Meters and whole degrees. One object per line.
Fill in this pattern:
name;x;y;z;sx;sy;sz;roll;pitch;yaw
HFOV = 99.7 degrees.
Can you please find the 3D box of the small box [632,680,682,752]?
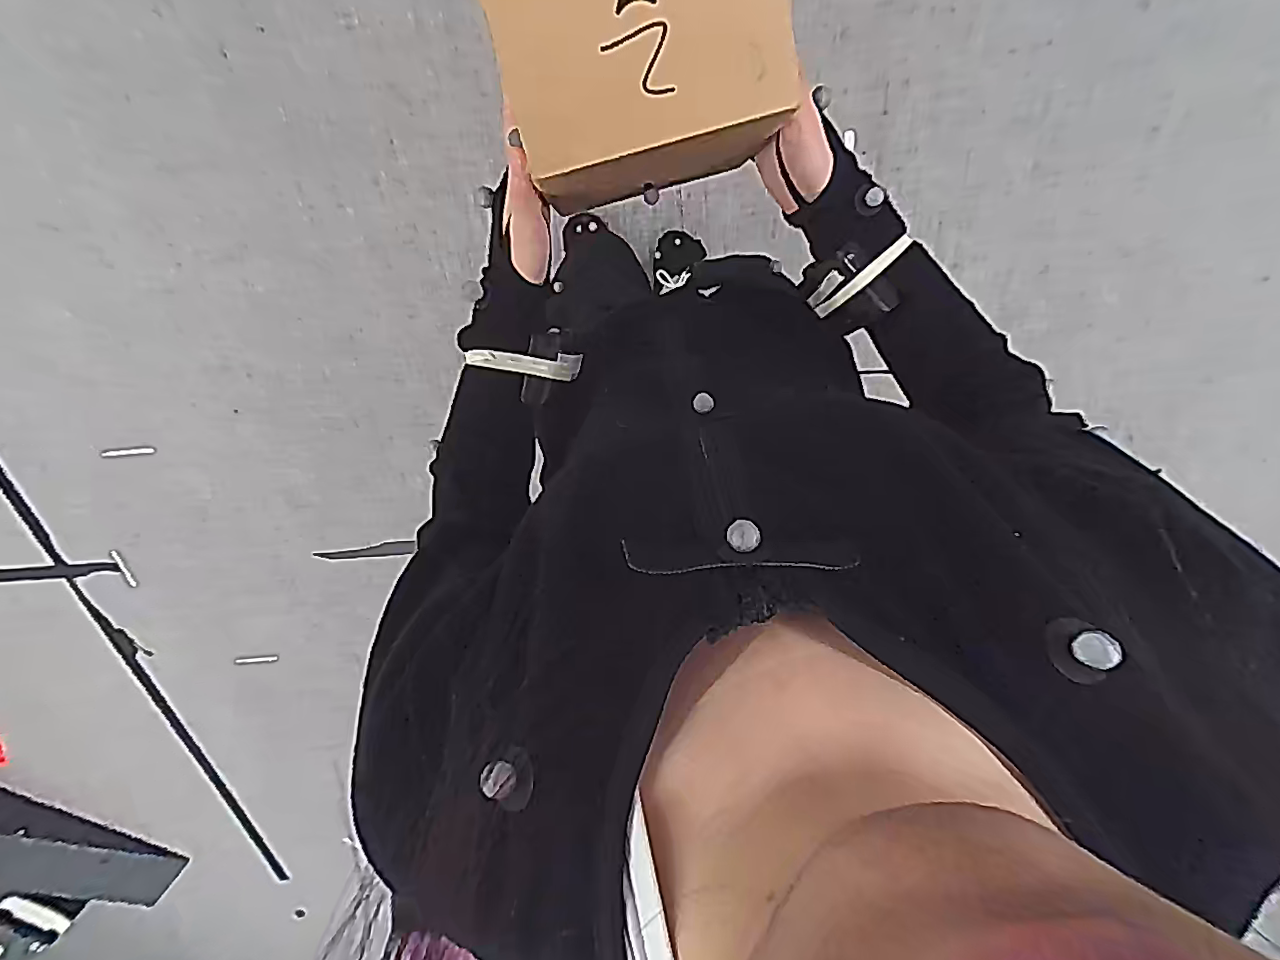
small box;0.058;0.821;1.896;0.168;0.176;0.179;-3;117;3
